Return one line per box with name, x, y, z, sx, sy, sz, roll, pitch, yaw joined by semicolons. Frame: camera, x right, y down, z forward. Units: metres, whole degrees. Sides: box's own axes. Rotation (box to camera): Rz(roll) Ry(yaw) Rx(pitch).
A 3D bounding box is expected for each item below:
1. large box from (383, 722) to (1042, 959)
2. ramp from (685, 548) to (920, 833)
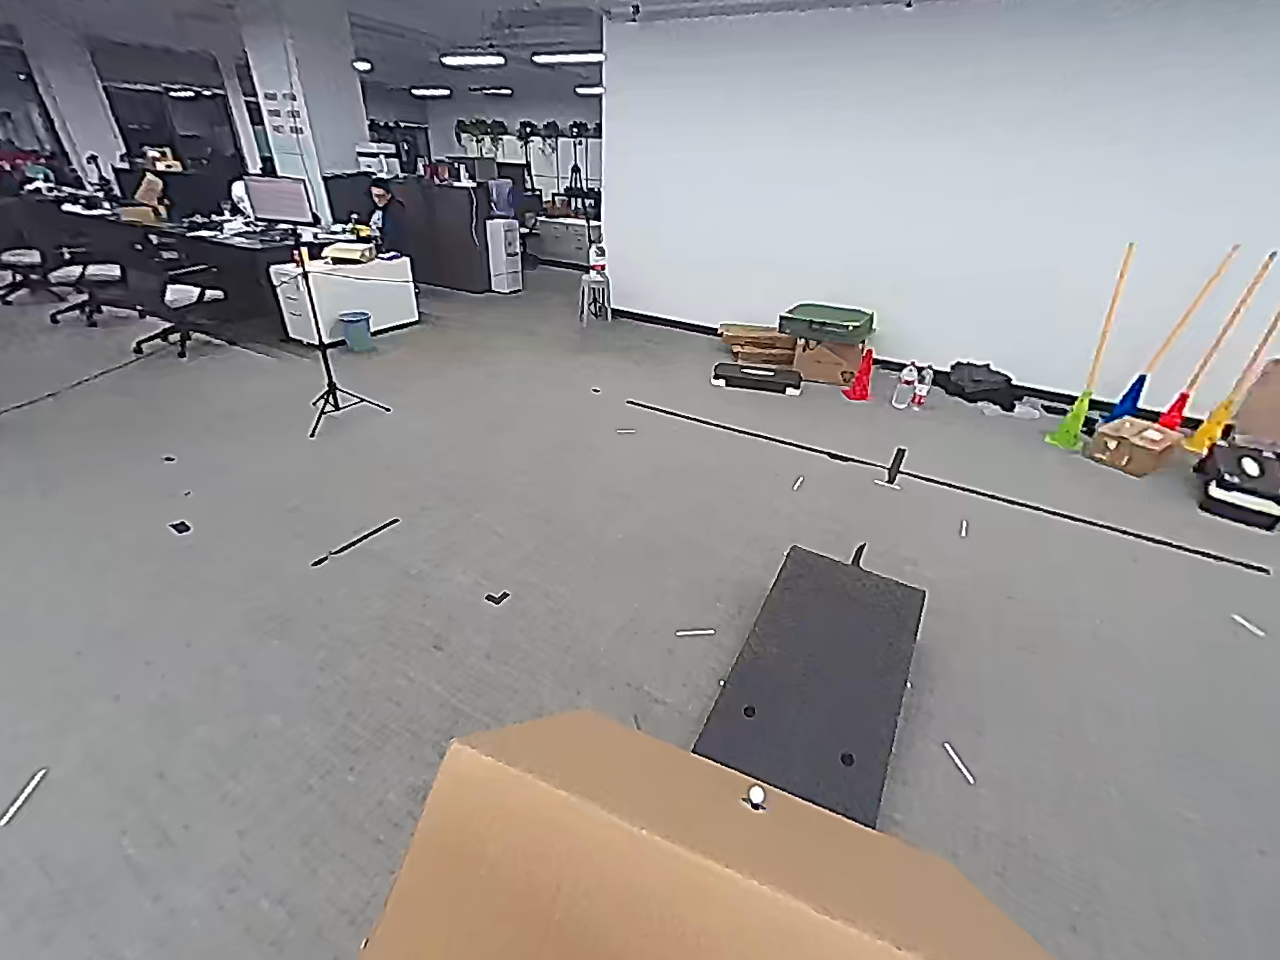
large box;0.042;0.418;0.410;0.408;0.320;0.320;16;76;15
ramp;0.545;0.625;1.695;0.509;0.206;0.991;19;35;22
